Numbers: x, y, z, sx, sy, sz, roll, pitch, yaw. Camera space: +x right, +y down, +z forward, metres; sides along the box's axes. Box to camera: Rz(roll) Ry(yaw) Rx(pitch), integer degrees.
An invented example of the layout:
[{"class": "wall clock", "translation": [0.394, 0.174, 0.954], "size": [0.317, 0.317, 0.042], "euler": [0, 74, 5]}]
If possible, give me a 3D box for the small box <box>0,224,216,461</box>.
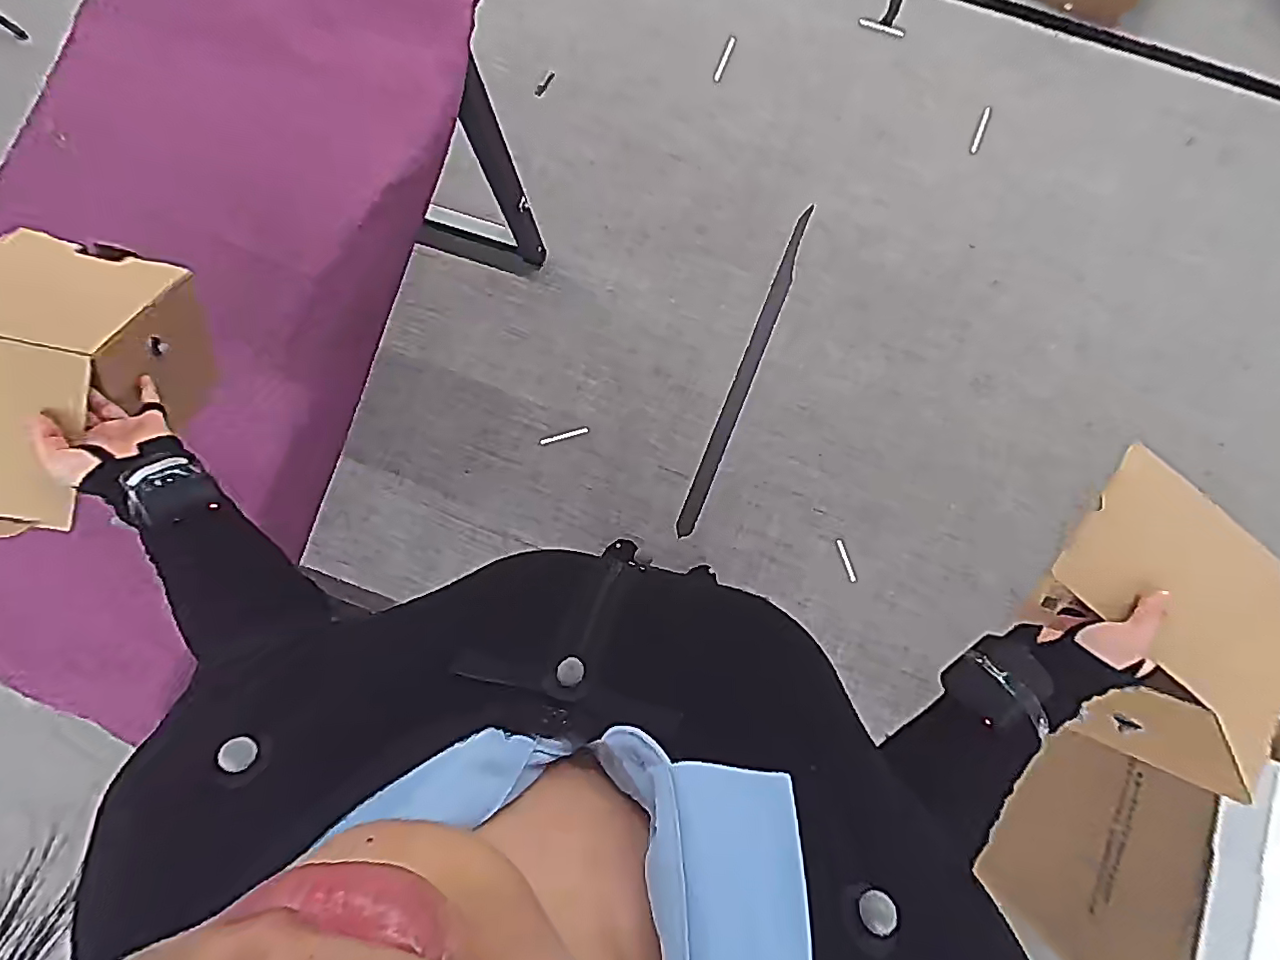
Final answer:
[{"class": "small box", "translation": [-0.621, -0.146, 0.606], "size": [0.168, 0.176, 0.179], "euler": [13, 47, -14]}]
